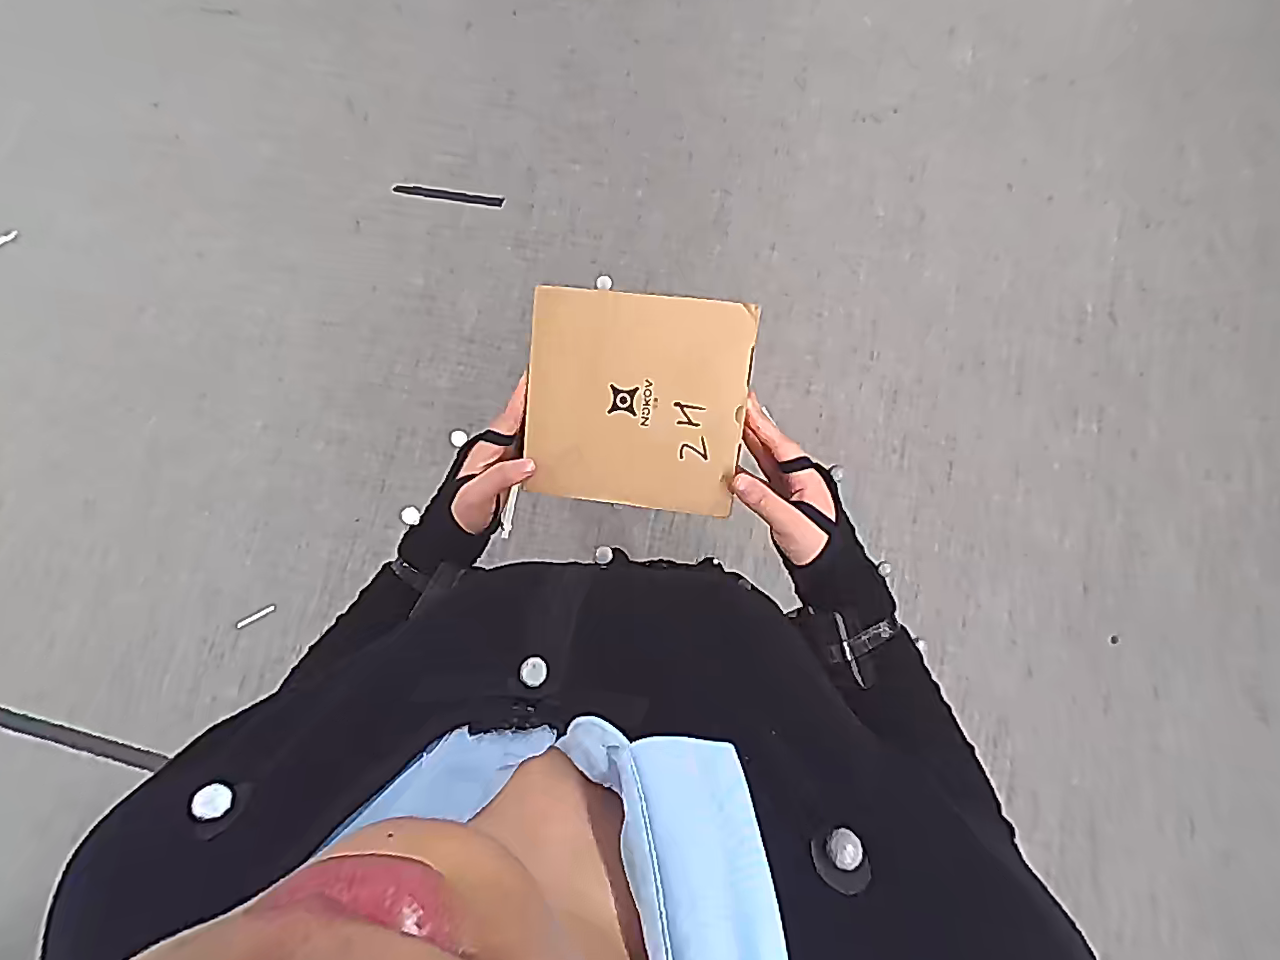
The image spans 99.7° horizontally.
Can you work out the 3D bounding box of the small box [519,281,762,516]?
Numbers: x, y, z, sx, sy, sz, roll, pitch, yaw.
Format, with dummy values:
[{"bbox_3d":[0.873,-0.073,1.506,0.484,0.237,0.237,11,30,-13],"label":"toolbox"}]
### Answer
[{"bbox_3d":[0.006,-0.075,0.497,0.179,0.176,0.168,7,101,6],"label":"small box"}]
